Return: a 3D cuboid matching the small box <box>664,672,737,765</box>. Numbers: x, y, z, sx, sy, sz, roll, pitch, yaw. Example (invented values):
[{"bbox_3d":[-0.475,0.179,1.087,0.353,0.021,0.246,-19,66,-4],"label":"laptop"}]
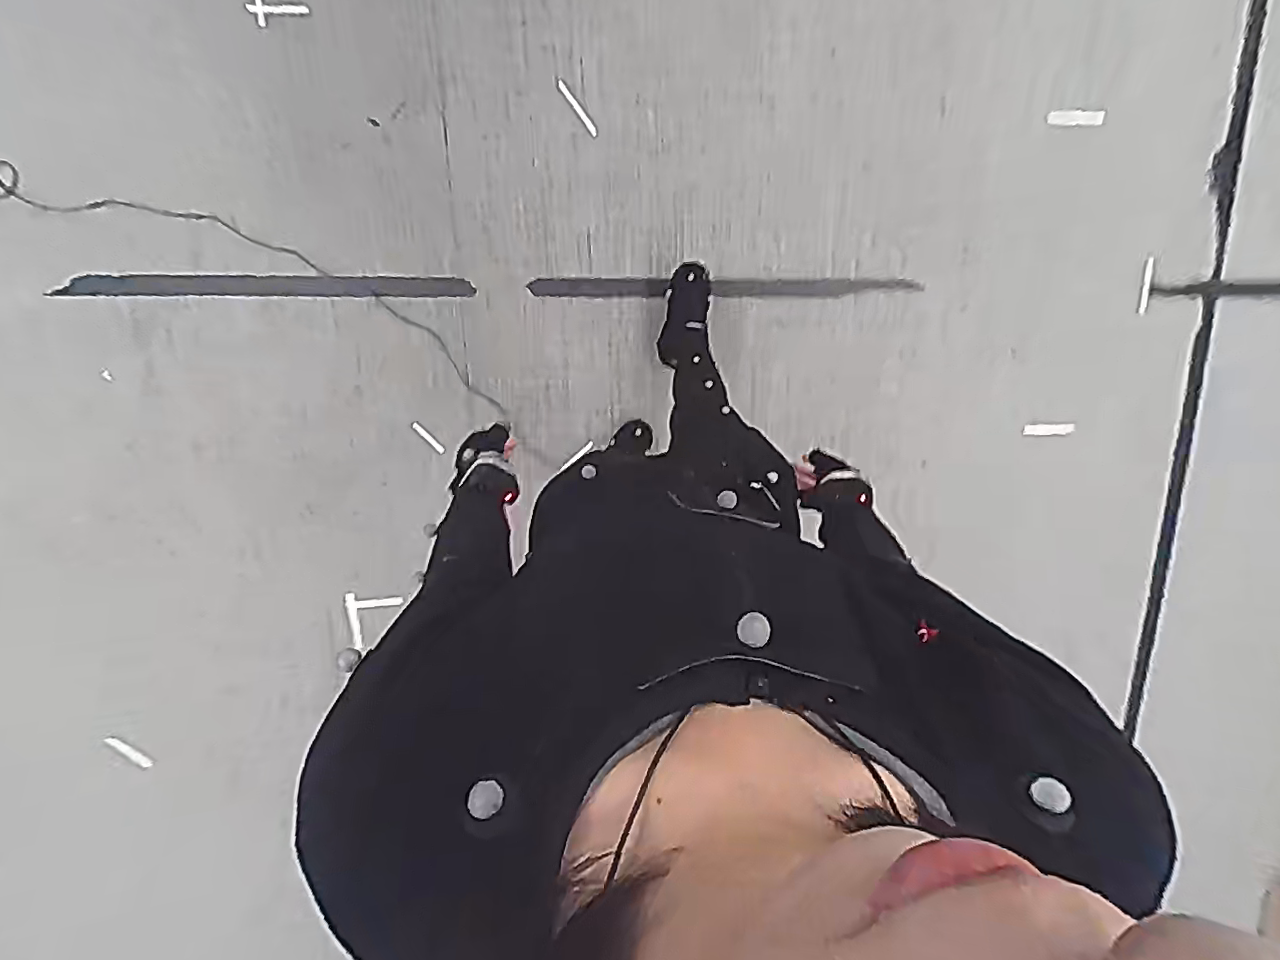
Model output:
[{"bbox_3d":[0.171,0.686,1.583,0.168,0.176,0.179,-13,103,-1],"label":"small box"}]
